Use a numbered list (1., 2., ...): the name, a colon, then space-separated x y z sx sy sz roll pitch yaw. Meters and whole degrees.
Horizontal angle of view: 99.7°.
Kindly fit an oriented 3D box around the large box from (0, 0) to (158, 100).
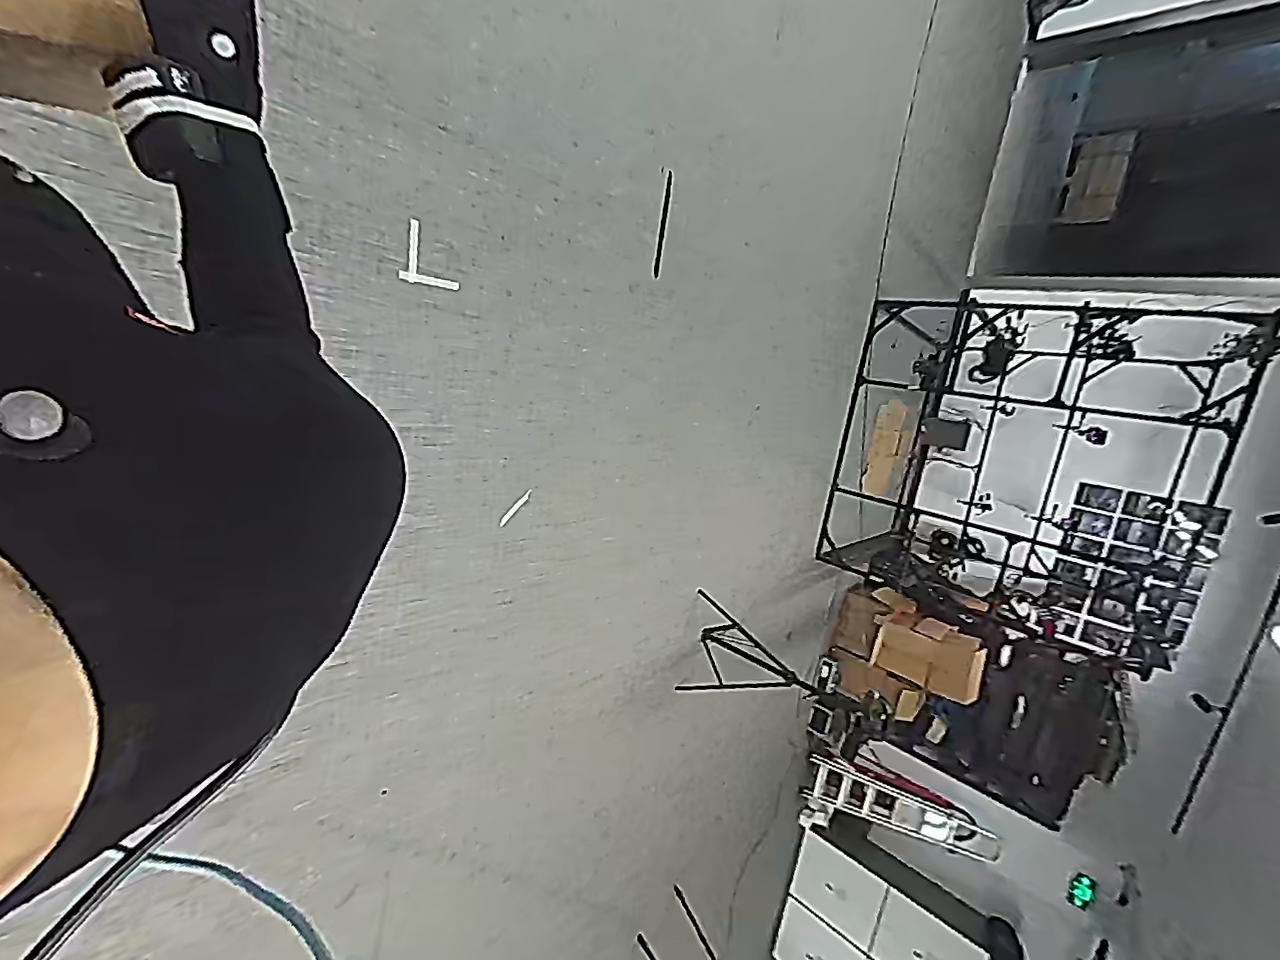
1. large box: -0.581 -0.448 0.285 0.408 0.320 0.320 -19 122 -46
